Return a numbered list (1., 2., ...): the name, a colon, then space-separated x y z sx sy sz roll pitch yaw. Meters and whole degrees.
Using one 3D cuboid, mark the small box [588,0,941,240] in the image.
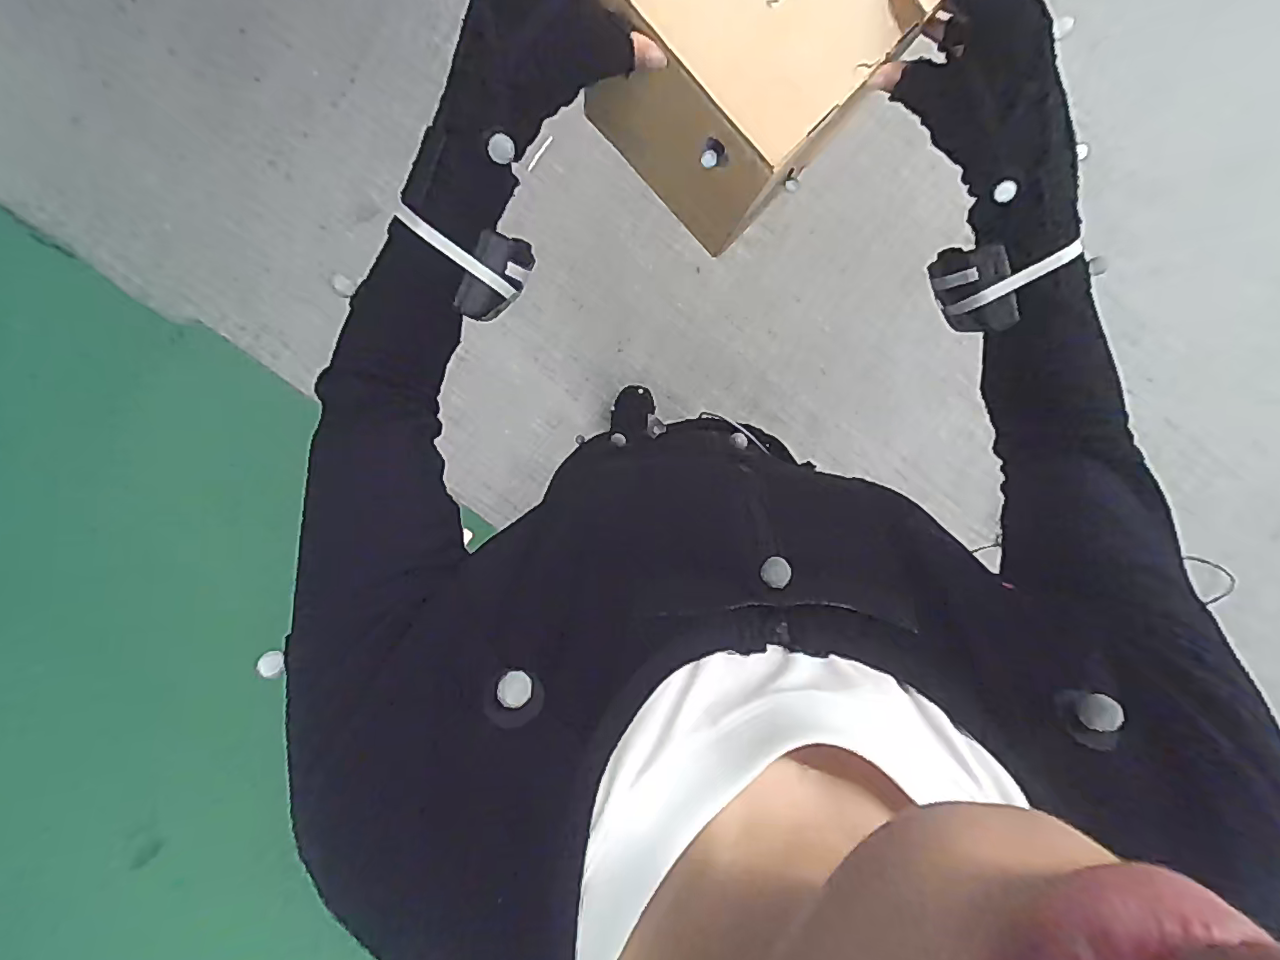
1. small box: 0.072 -0.325 0.418 0.168 0.176 0.179 -44 98 -1
